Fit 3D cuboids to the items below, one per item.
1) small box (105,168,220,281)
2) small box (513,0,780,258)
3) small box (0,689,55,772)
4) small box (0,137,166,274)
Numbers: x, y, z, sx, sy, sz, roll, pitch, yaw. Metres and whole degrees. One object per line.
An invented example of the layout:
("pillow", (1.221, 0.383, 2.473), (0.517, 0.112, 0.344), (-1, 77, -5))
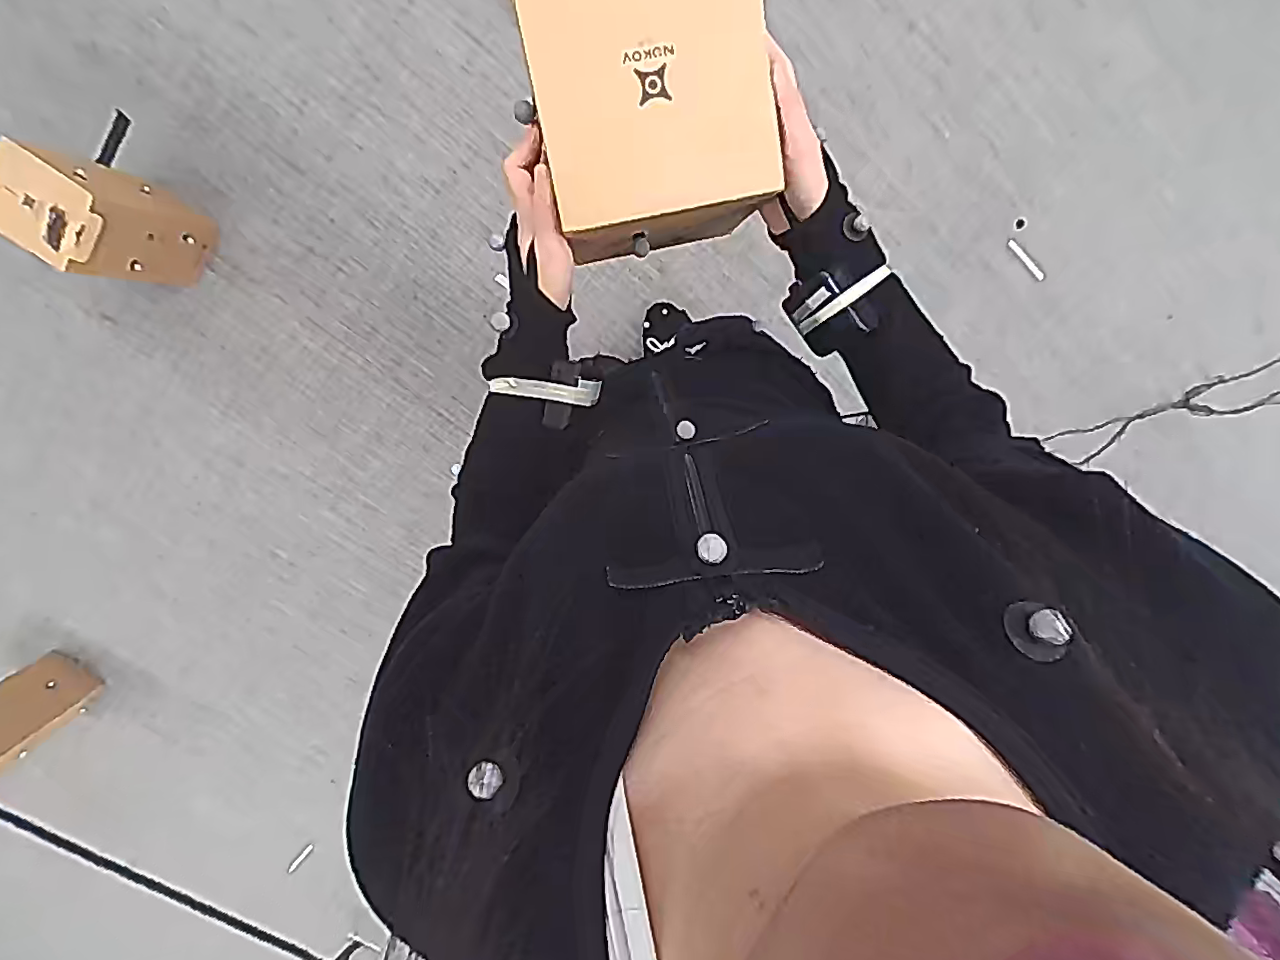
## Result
("small box", (-1.122, -0.576, 1.235), (0.179, 0.176, 0.168), (34, 103, -10))
("small box", (0.003, -0.295, 0.449), (0.168, 0.176, 0.179), (-12, 103, -1))
("small box", (-1.749, 0.689, 1.434), (0.179, 0.176, 0.168), (42, 102, -14))
("small box", (-1.113, -0.531, 1.076), (0.179, 0.176, 0.168), (35, 103, -11))
